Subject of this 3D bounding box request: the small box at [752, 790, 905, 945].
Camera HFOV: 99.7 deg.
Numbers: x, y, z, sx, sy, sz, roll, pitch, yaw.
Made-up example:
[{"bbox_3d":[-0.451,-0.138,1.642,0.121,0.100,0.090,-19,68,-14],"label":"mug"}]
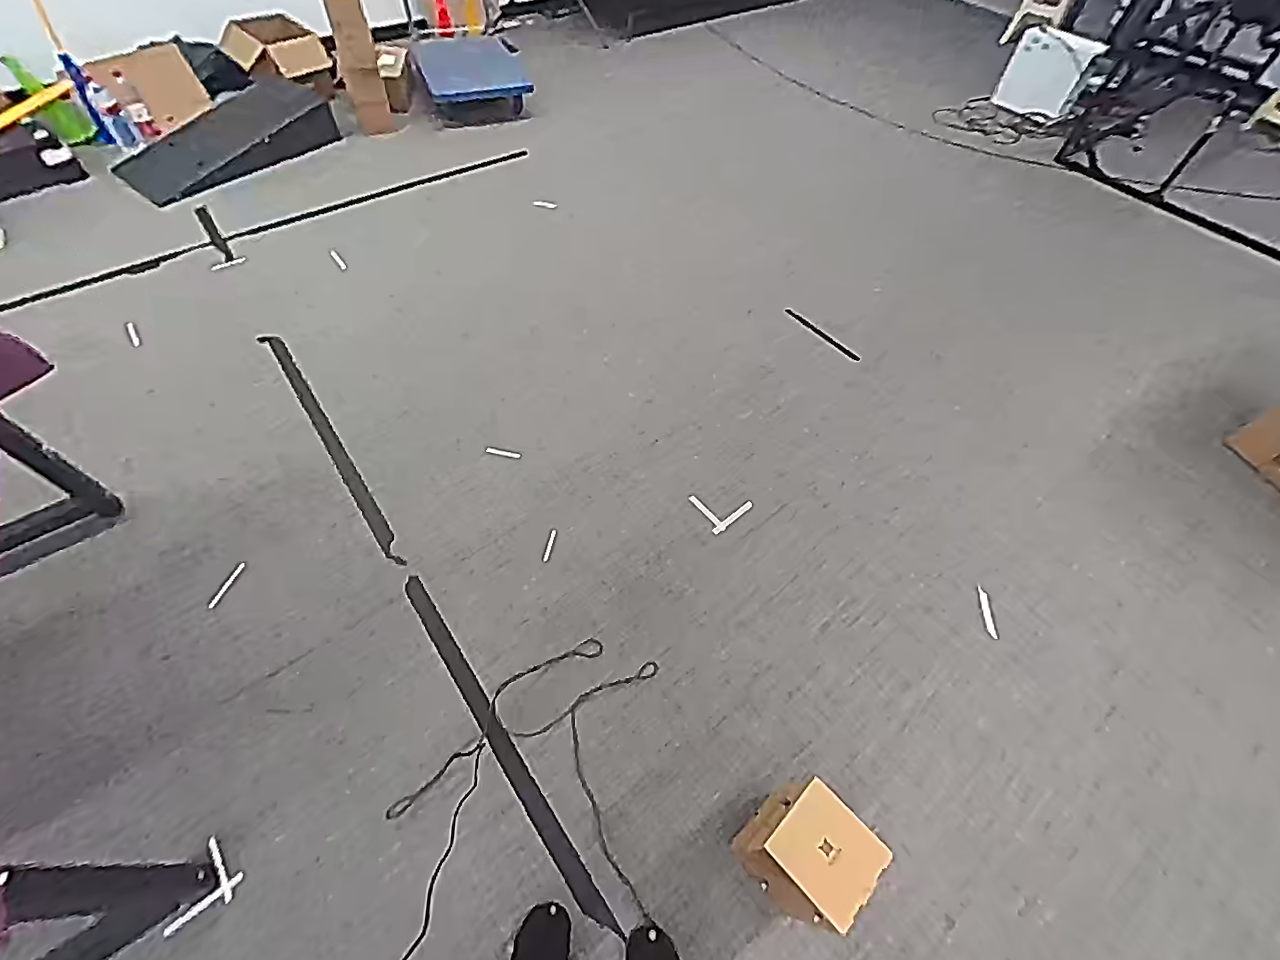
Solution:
[{"bbox_3d":[0.345,0.700,0.988,0.168,0.176,0.179,50,46,6],"label":"small box"}]
